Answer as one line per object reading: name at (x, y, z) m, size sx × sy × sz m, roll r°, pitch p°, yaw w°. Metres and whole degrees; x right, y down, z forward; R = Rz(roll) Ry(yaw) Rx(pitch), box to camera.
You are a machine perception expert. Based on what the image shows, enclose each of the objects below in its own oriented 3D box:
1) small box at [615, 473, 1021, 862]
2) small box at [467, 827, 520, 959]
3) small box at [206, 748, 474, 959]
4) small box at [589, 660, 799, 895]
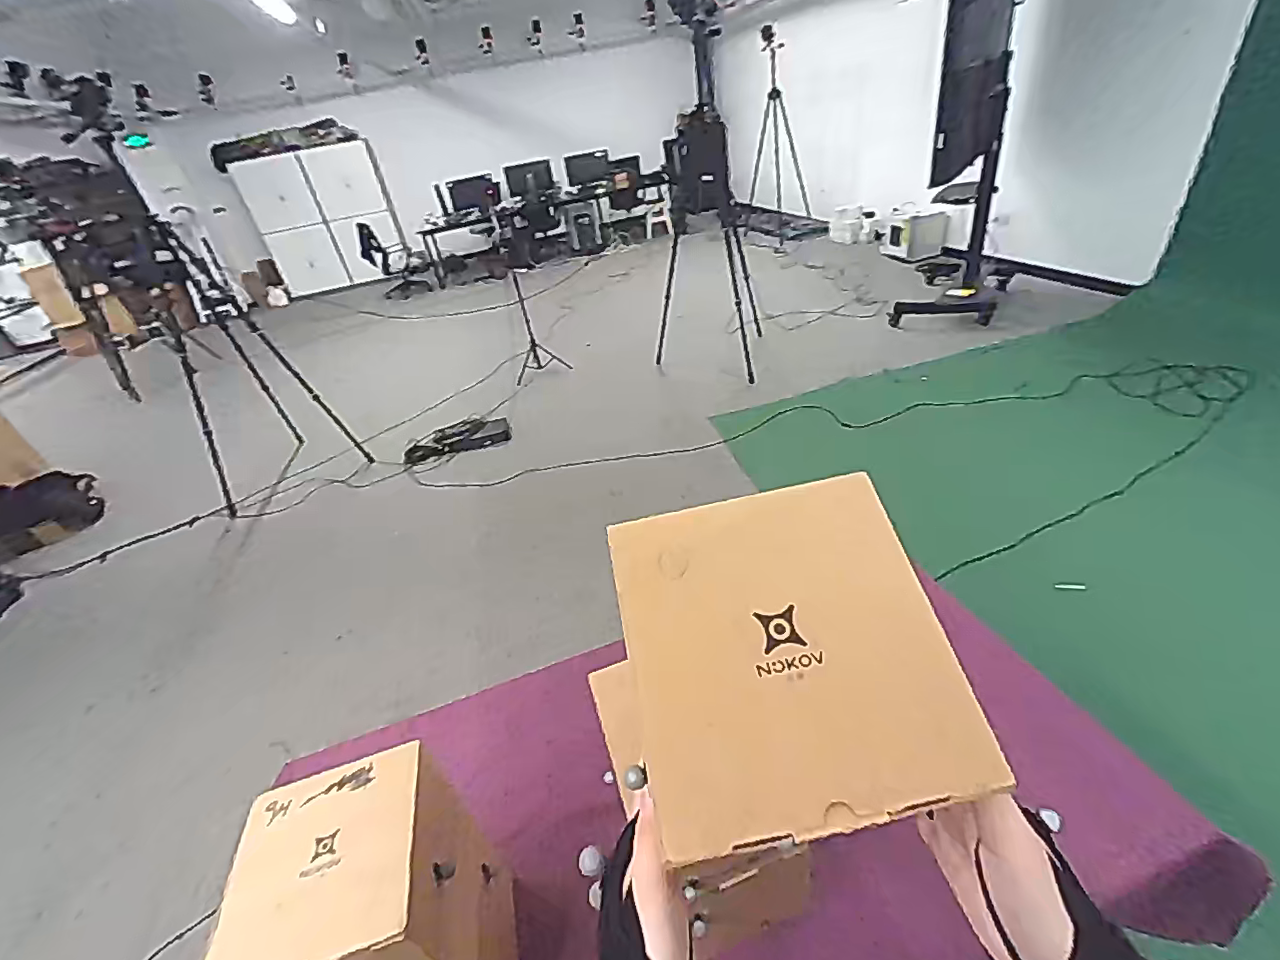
small box at (0.085, 0.124, 0.353) m, size 0.168 × 0.176 × 0.179 m, roll -12°, pitch 59°, yaw -1°
small box at (-0.238, 0.544, 0.607) m, size 0.168 × 0.176 × 0.179 m, roll -18°, pitch 34°, yaw -8°
small box at (-0.267, 0.407, 0.520) m, size 0.168 × 0.176 × 0.179 m, roll -17°, pitch 34°, yaw -9°
small box at (0.059, 0.301, 0.581) m, size 0.168 × 0.176 × 0.179 m, roll -18°, pitch 32°, yaw -10°
